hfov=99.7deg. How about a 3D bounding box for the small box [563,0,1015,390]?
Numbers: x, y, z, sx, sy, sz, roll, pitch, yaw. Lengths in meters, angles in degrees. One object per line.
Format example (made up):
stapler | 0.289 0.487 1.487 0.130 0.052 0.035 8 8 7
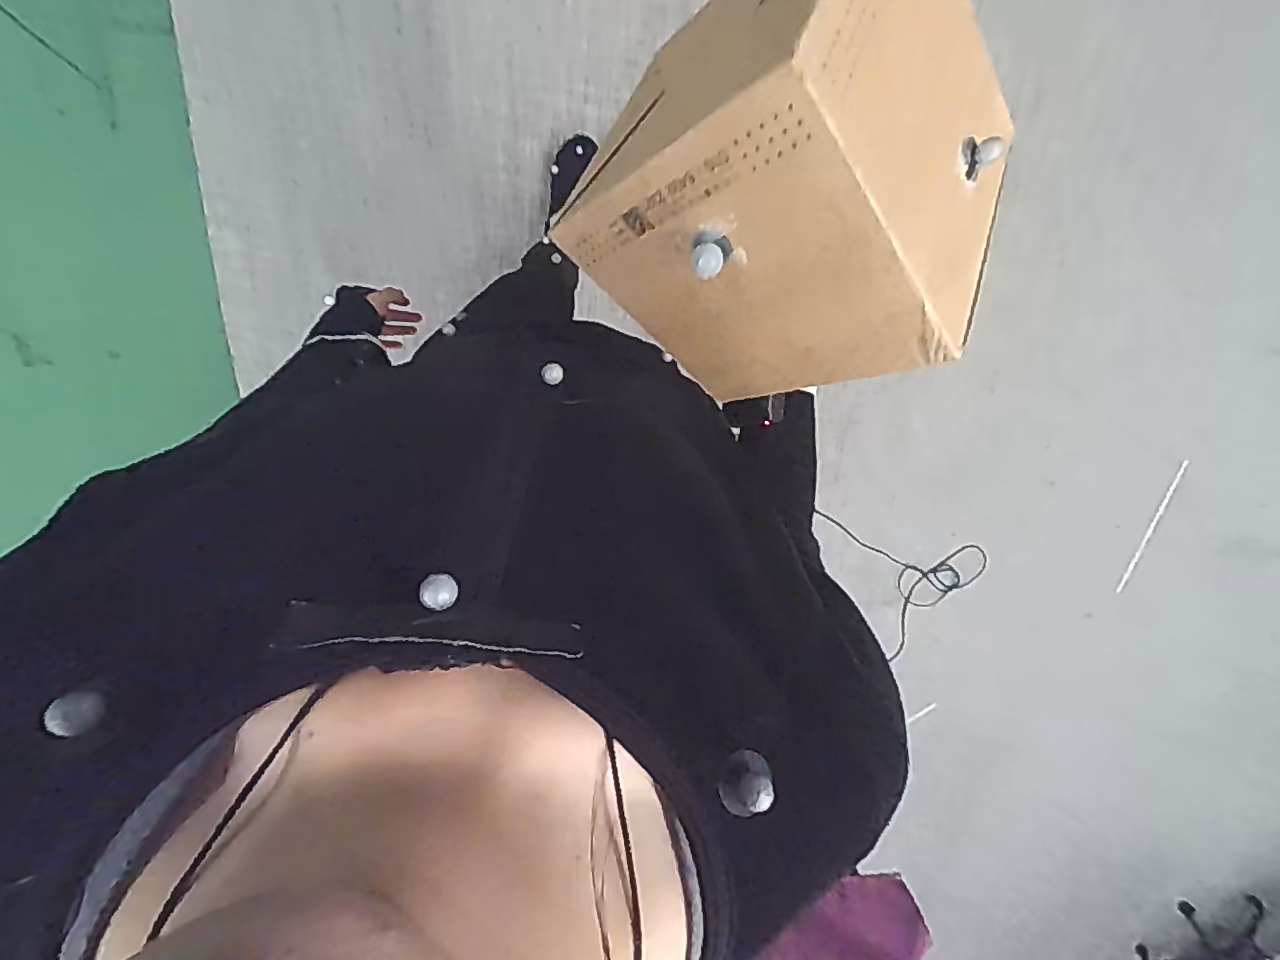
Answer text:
small box | 0.089 -0.181 0.313 0.176 0.168 0.179 38 66 -32
